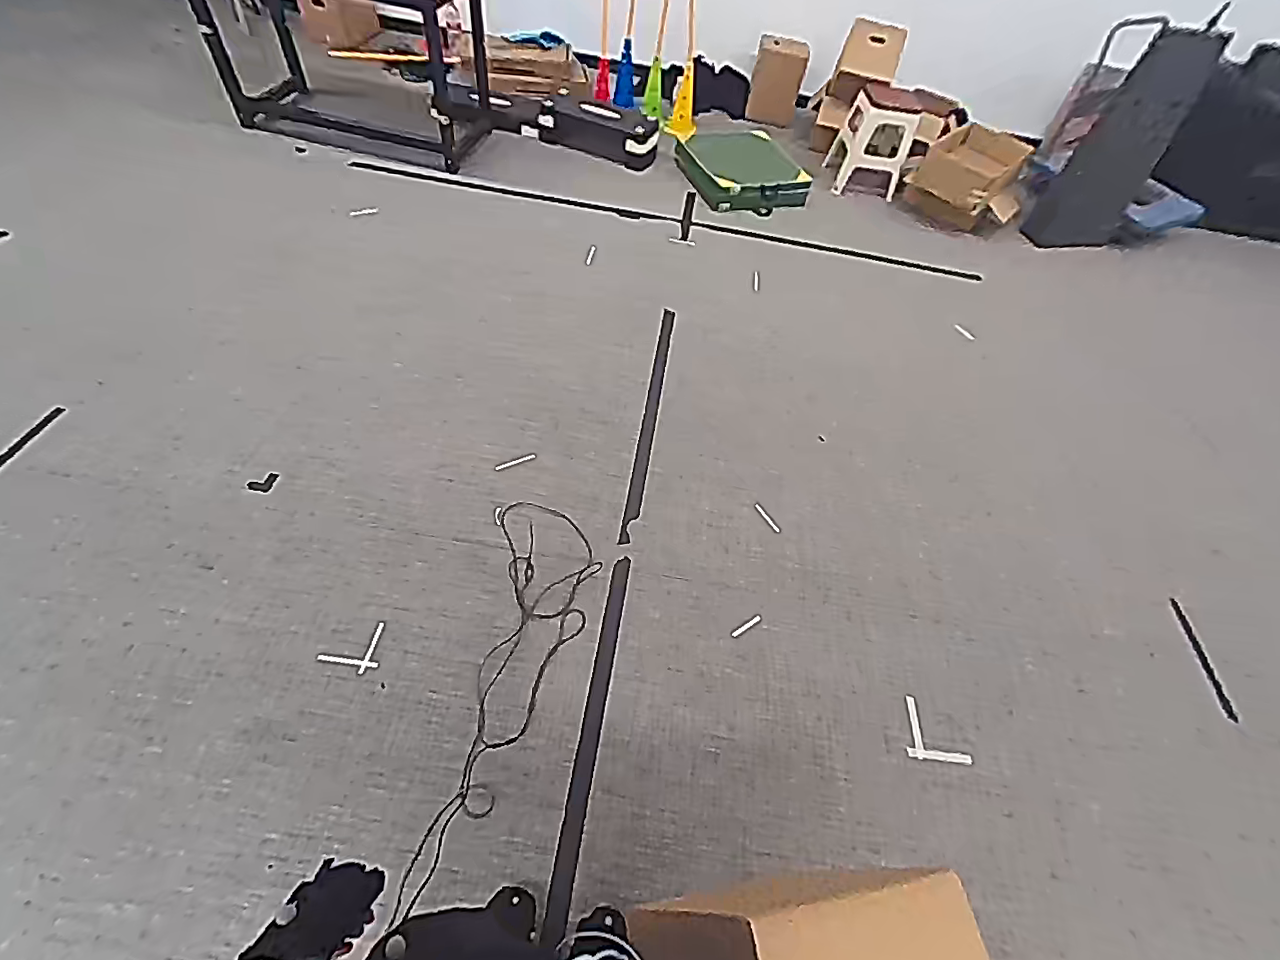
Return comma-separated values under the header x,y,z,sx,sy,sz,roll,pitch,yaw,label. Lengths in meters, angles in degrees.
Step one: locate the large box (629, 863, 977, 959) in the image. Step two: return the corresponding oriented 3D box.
x,y,z,sx,sy,sz,roll,pitch,yaw,label
0.211,0.725,0.708,0.320,0.408,0.320,4,54,-21,large box
